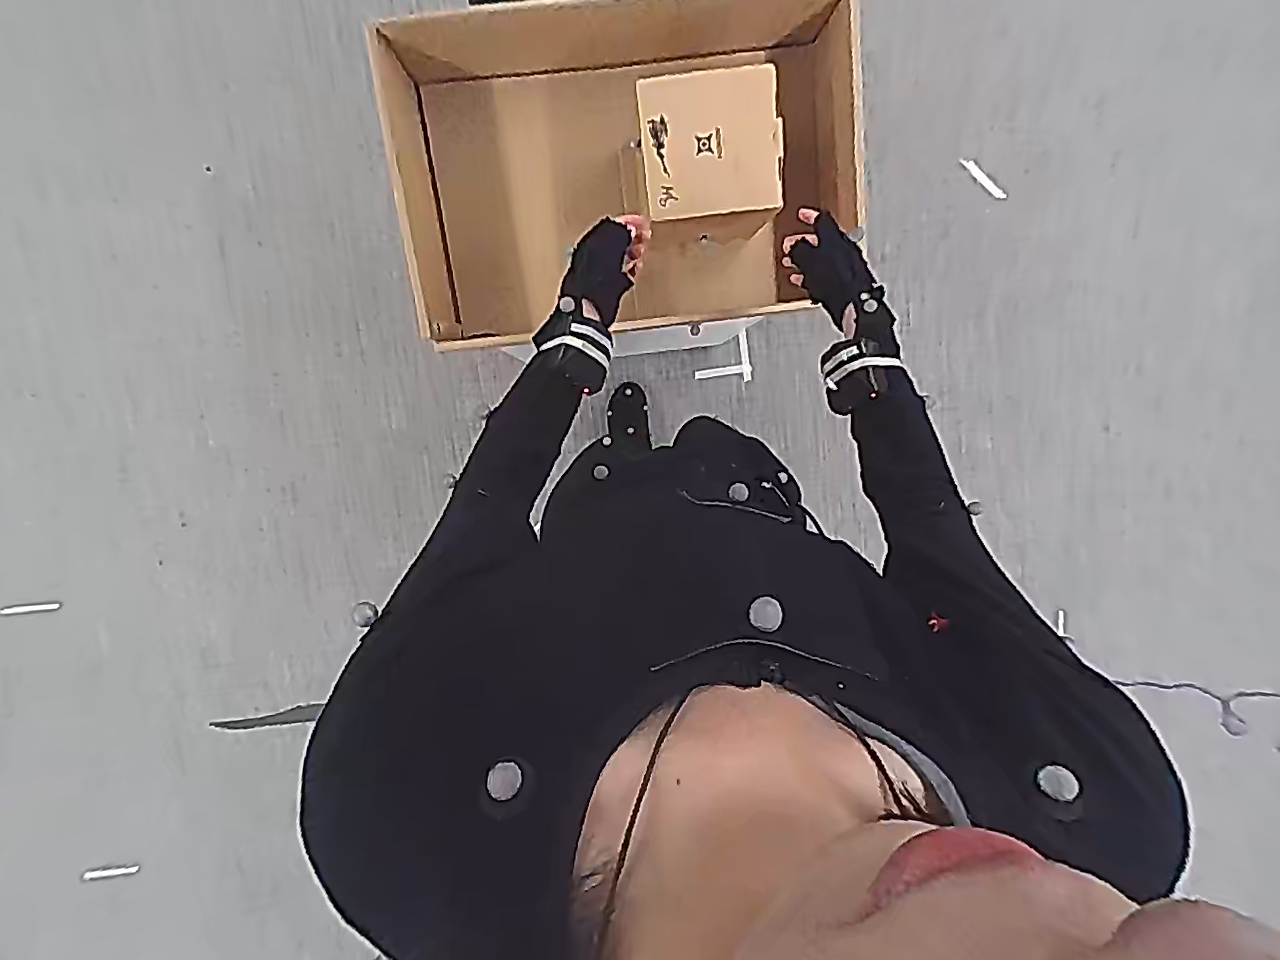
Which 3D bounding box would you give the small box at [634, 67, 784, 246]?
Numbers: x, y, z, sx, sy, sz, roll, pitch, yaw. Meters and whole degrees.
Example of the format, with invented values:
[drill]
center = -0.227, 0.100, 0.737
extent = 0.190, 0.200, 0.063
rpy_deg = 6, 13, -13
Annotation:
[small box]
center = 0.089, -0.437, 0.757
extent = 0.179, 0.176, 0.168
rpy_deg = -7, 102, -1
